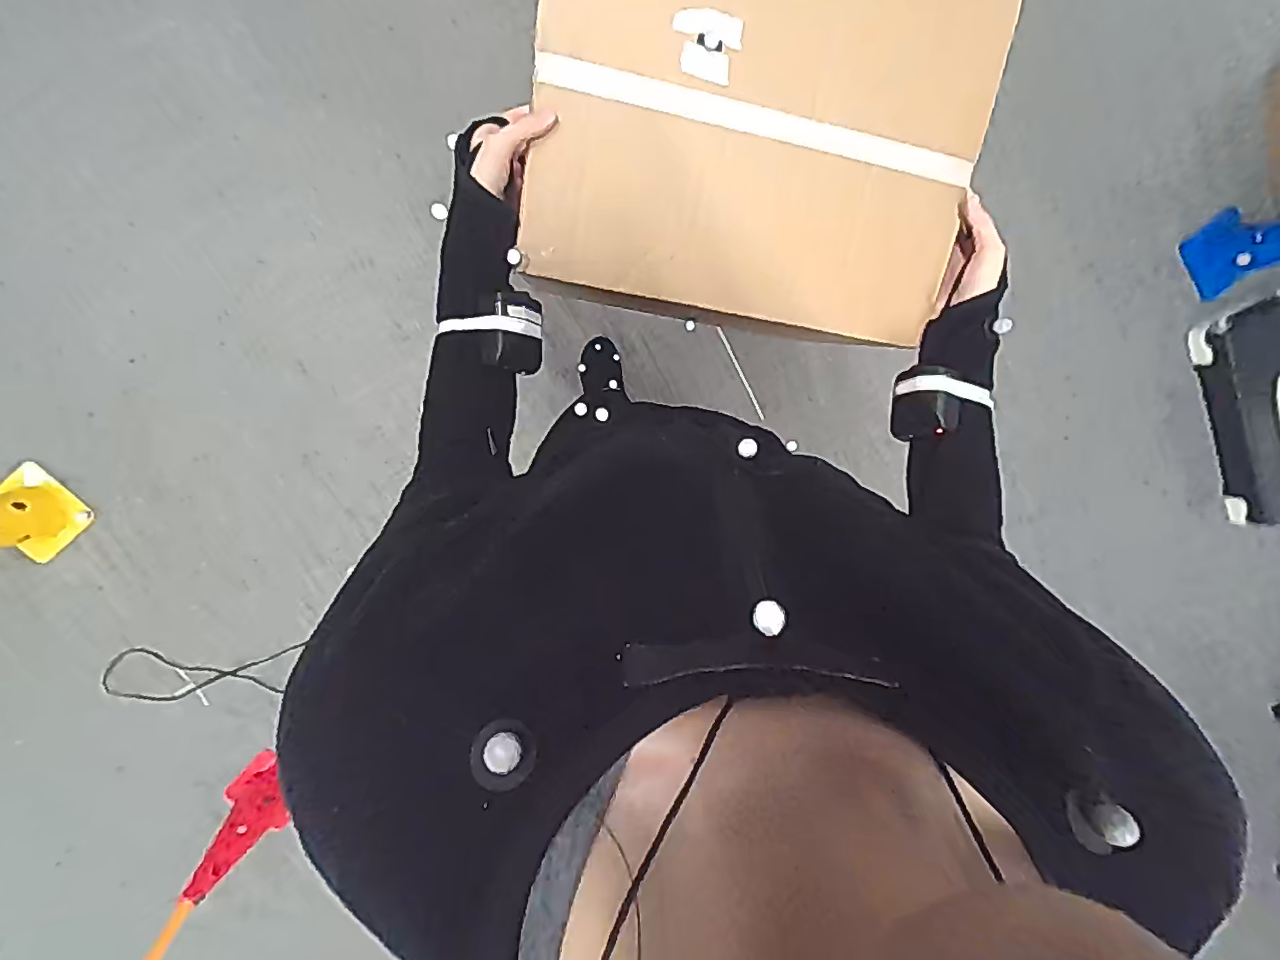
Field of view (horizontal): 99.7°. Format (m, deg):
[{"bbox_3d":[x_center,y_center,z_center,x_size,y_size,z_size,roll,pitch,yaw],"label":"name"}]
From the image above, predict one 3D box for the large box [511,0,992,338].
[{"bbox_3d":[0.081,-0.352,0.627,0.408,0.320,0.320,7,104,-9],"label":"large box"}]
